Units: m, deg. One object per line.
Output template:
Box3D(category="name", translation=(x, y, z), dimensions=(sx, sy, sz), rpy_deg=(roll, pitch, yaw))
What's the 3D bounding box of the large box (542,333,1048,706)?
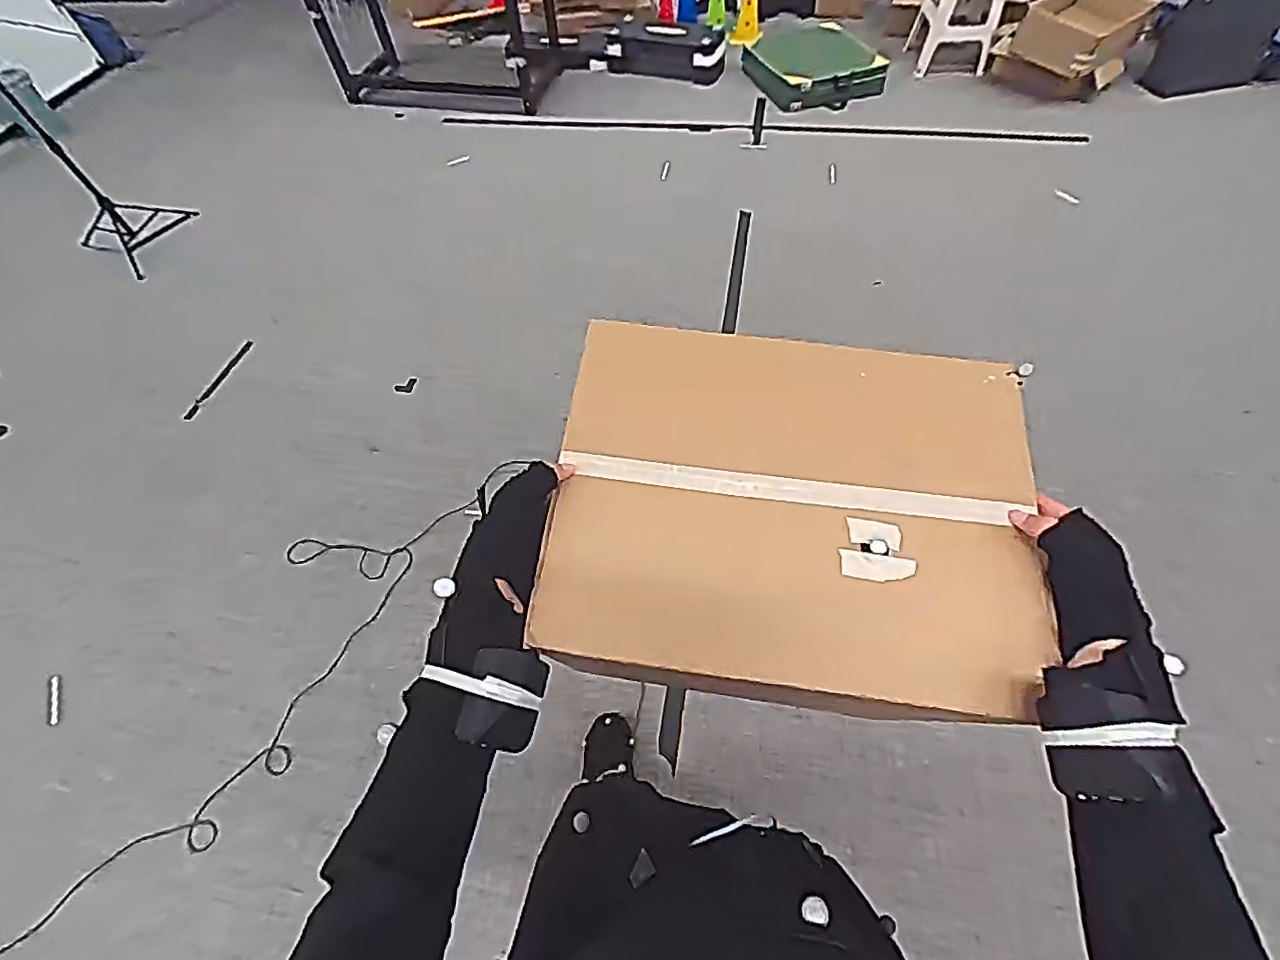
Box3D(category="large box", translation=(0.132, 0.068, 0.614), dimensions=(0.408, 0.320, 0.320), rpy_deg=(7, 68, 3))
